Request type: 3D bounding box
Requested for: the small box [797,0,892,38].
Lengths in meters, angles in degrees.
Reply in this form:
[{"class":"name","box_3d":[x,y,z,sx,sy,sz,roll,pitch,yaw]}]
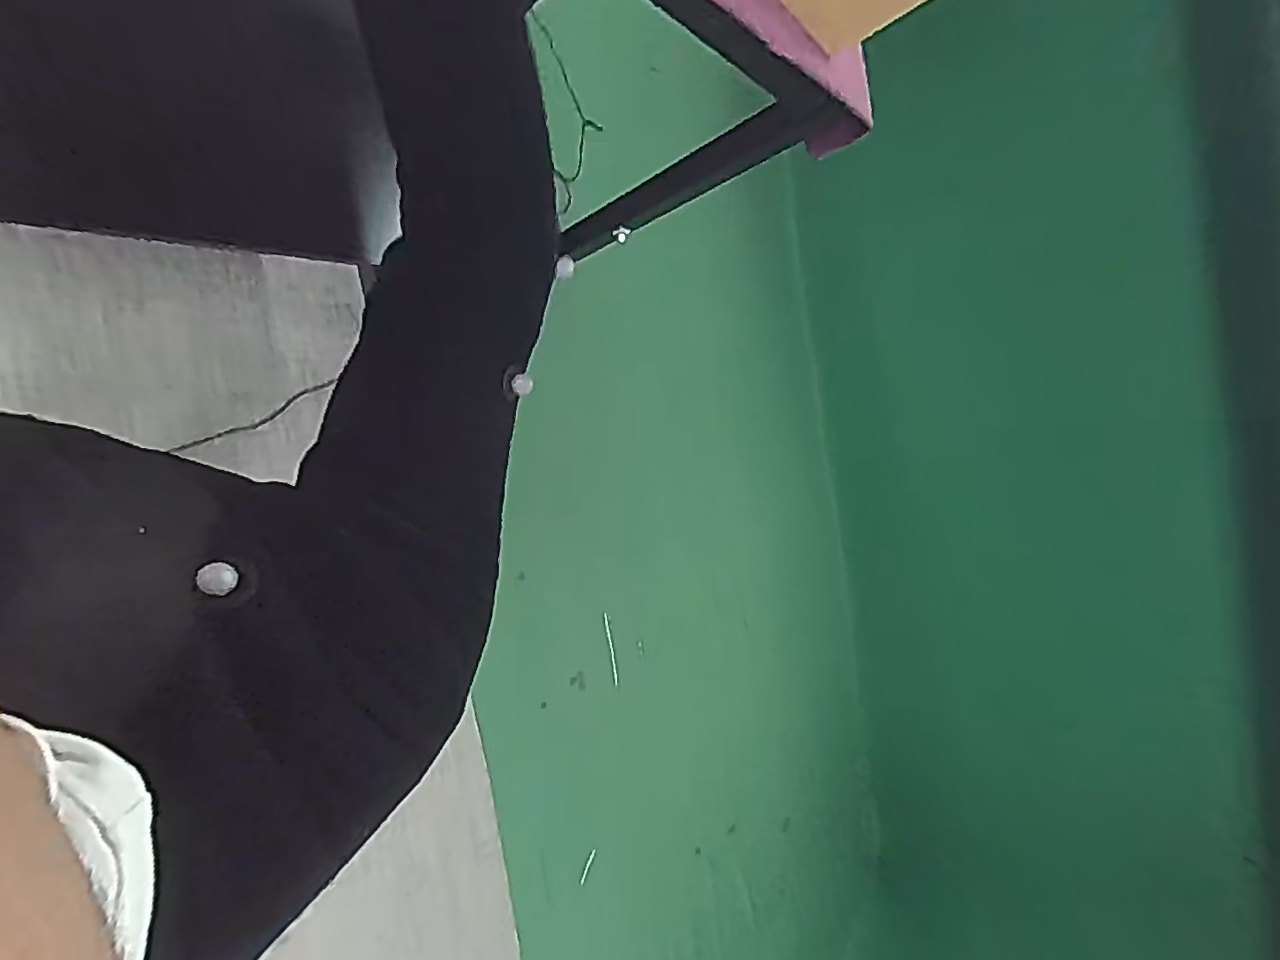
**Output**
[{"class":"small box","box_3d":[0.228,-0.614,0.553,0.179,0.176,0.168,-8,93,-48]}]
